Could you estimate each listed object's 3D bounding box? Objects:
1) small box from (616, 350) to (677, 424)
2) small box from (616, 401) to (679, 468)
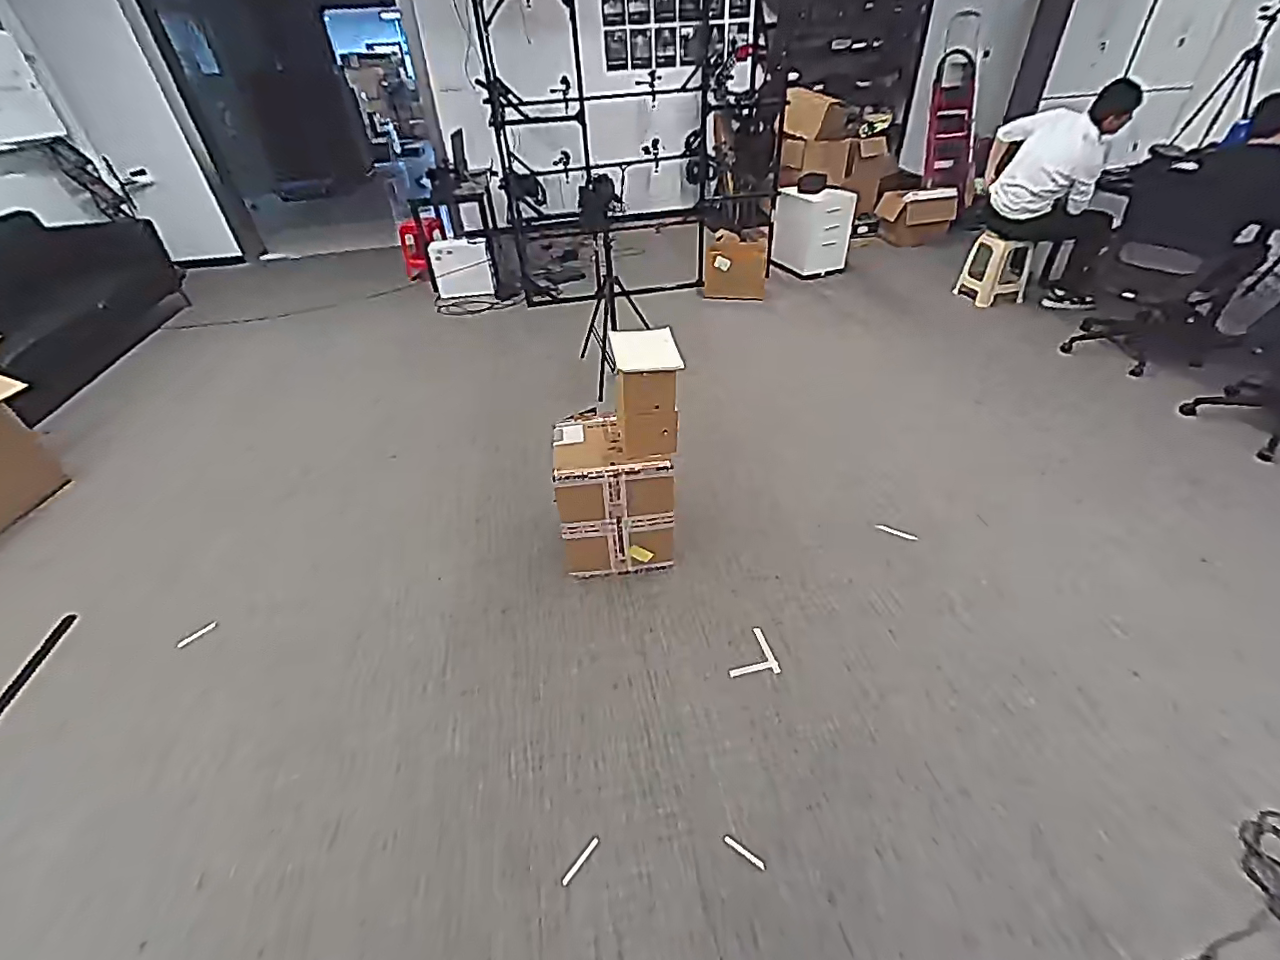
[{"bbox_3d":[0.016,-0.294,1.702,0.168,0.176,0.179,-7,39,-8],"label":"small box"},{"bbox_3d":[0.022,-0.161,1.798,0.179,0.176,0.168,-9,39,-9],"label":"small box"}]
